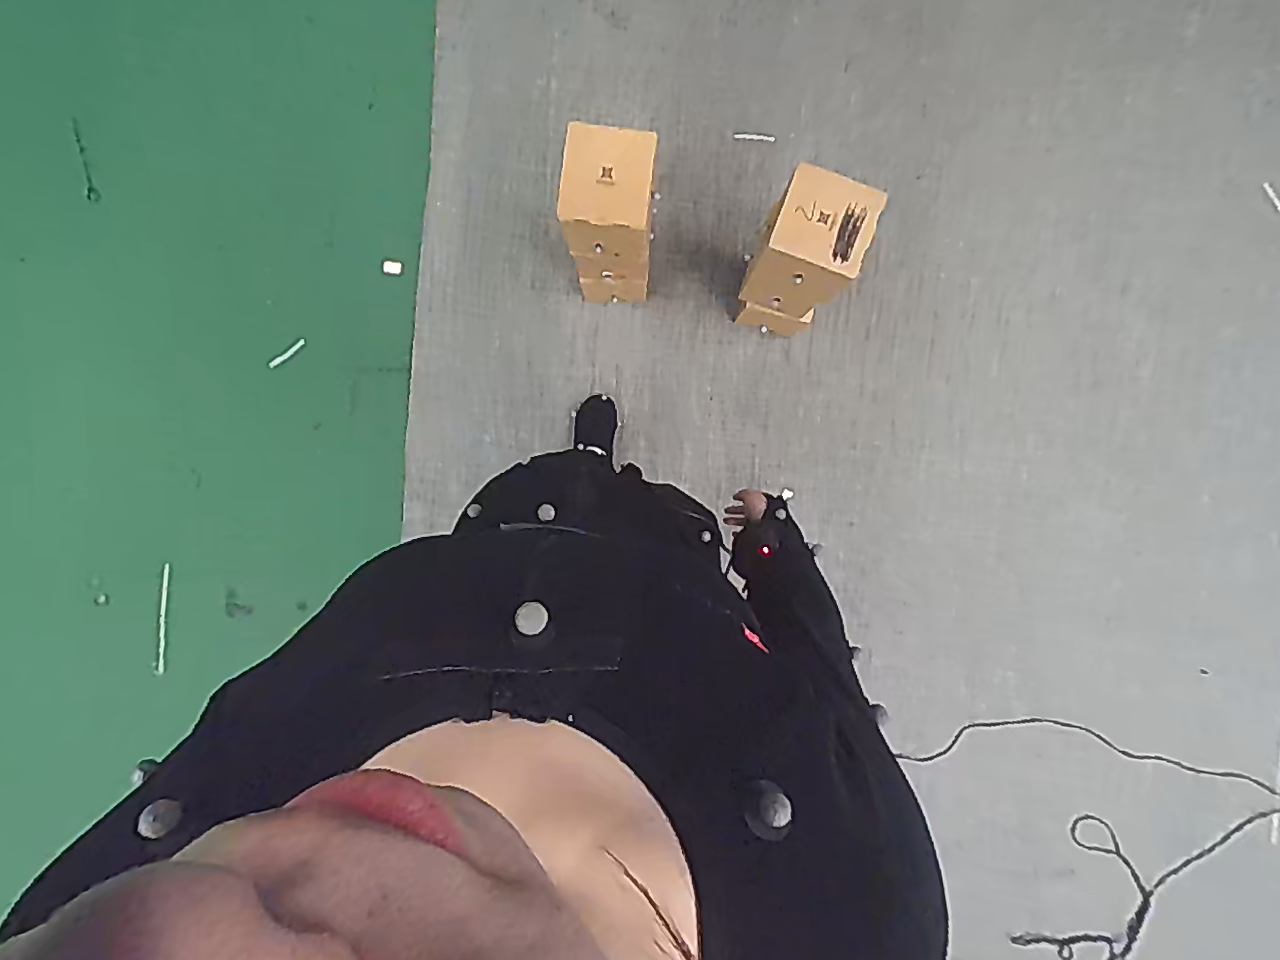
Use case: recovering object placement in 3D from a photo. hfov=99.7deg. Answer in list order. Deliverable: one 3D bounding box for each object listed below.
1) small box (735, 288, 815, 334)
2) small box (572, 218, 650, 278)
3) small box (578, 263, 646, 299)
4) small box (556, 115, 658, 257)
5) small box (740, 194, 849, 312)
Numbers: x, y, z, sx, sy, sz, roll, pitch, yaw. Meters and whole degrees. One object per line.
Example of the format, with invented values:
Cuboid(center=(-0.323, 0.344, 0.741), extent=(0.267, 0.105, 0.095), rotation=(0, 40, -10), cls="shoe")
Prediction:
Cuboid(center=(0.352, -0.492, 1.379), extent=(0.168, 0.176, 0.179), rotation=(15, 93, -1), cls="small box")
Cuboid(center=(-0.061, -0.571, 1.211), extent=(0.168, 0.176, 0.179), rotation=(1, 93, 0), cls="small box")
Cuboid(center=(-0.068, -0.574, 1.373), extent=(0.168, 0.176, 0.179), rotation=(1, 93, 0), cls="small box")
Cuboid(center=(-0.061, -0.560, 1.049), extent=(0.168, 0.176, 0.179), rotation=(7, 92, 0), cls="small box")
Cuboid(center=(0.336, -0.498, 1.216), extent=(0.168, 0.176, 0.179), rotation=(19, 93, -1), cls="small box")
